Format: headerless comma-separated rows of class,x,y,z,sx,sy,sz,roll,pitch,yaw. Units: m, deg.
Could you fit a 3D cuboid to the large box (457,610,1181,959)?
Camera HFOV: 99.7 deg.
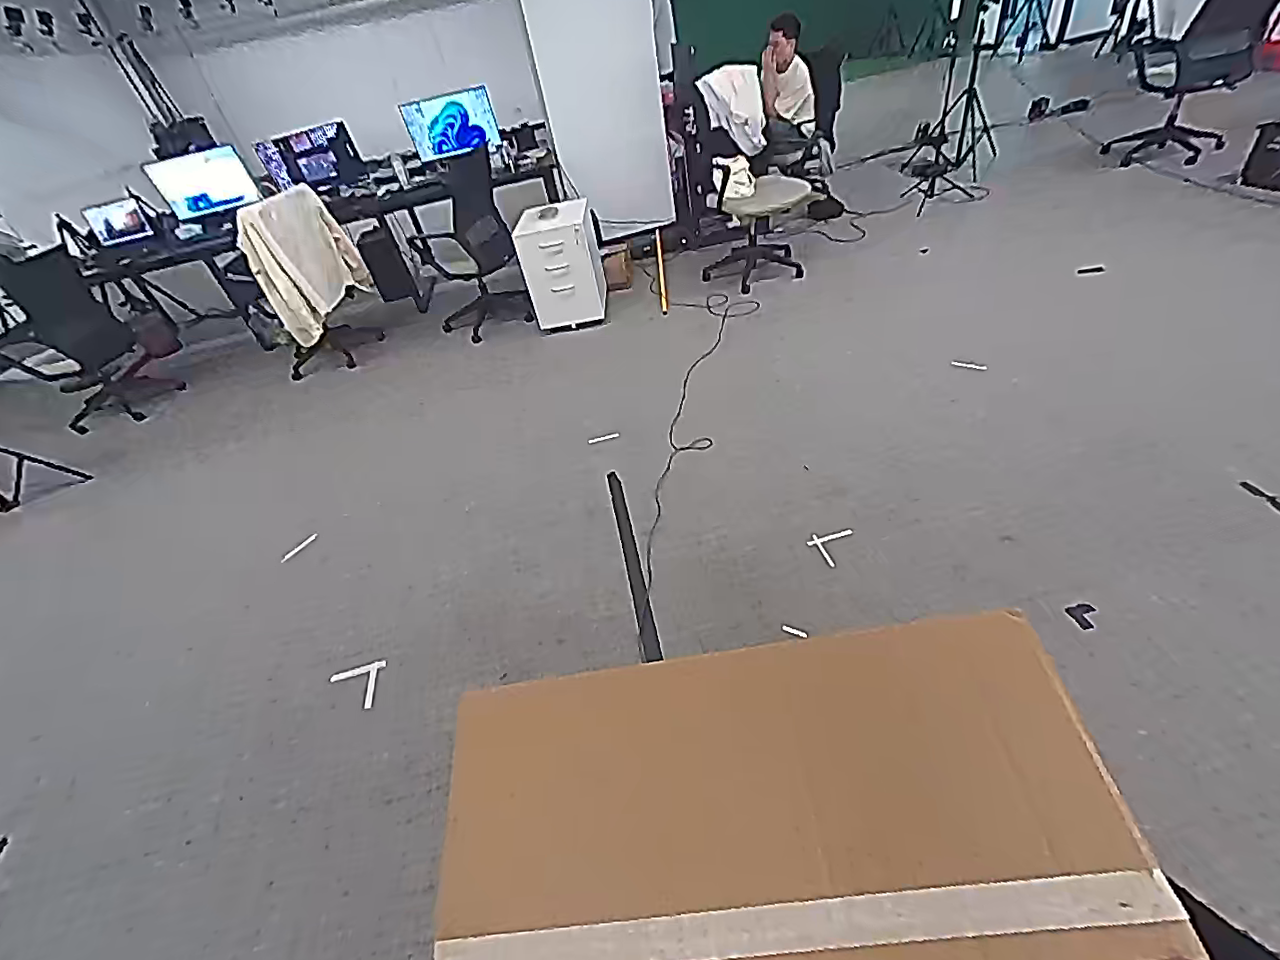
large box,0.108,0.338,0.434,0.408,0.320,0.320,-12,55,8
